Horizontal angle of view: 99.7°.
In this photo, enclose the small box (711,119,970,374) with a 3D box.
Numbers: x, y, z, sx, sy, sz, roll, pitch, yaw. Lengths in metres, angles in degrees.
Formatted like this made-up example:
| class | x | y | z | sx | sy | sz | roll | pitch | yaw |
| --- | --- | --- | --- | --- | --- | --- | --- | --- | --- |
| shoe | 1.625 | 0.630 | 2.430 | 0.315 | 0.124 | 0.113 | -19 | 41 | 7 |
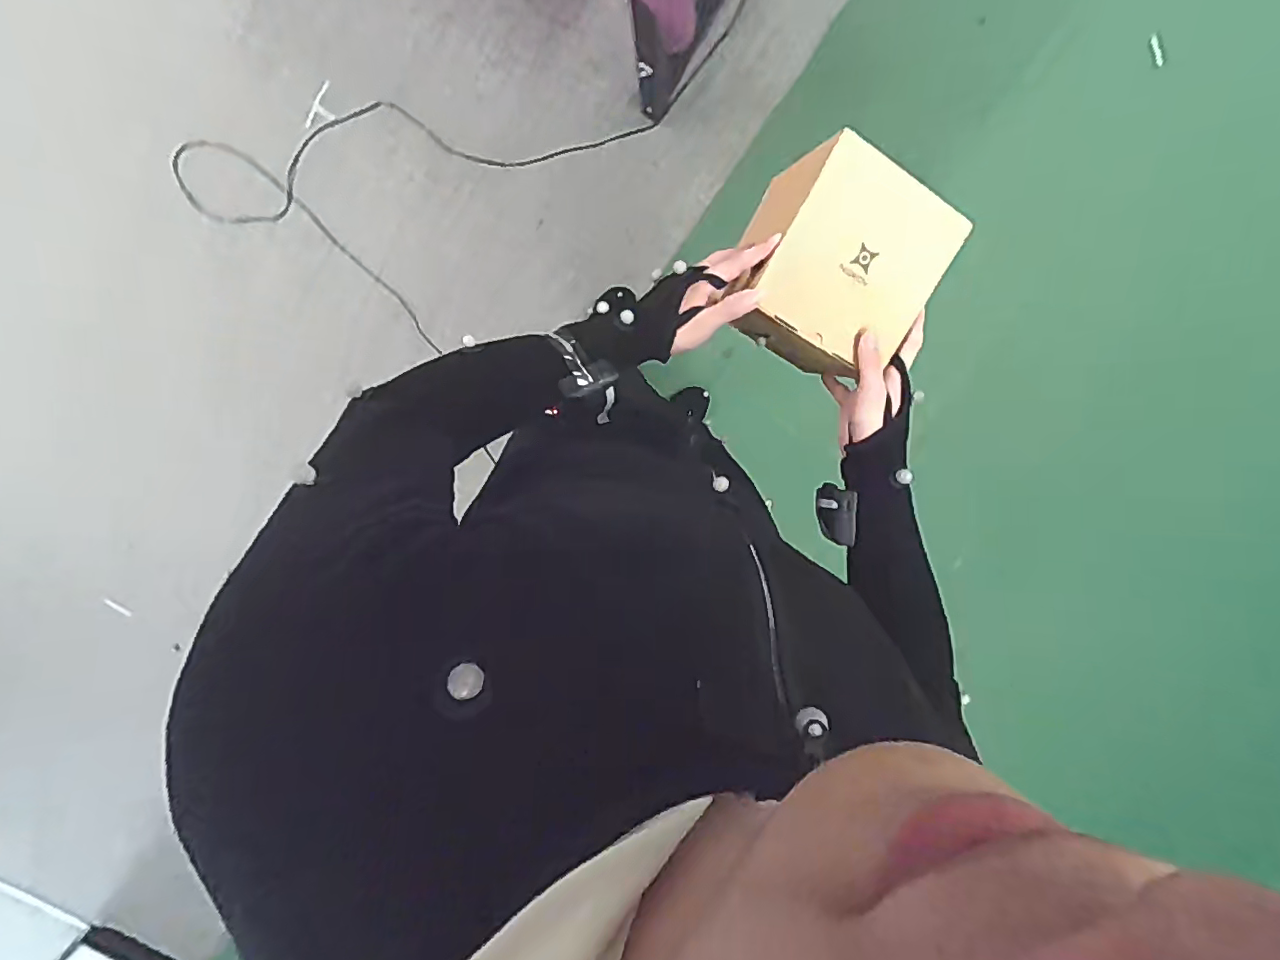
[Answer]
| class | x | y | z | sx | sy | sz | roll | pitch | yaw |
| --- | --- | --- | --- | --- | --- | --- | --- | --- | --- |
| small box | 0.199 | -0.238 | 0.592 | 0.168 | 0.176 | 0.179 | 25 | 102 | -15 |
